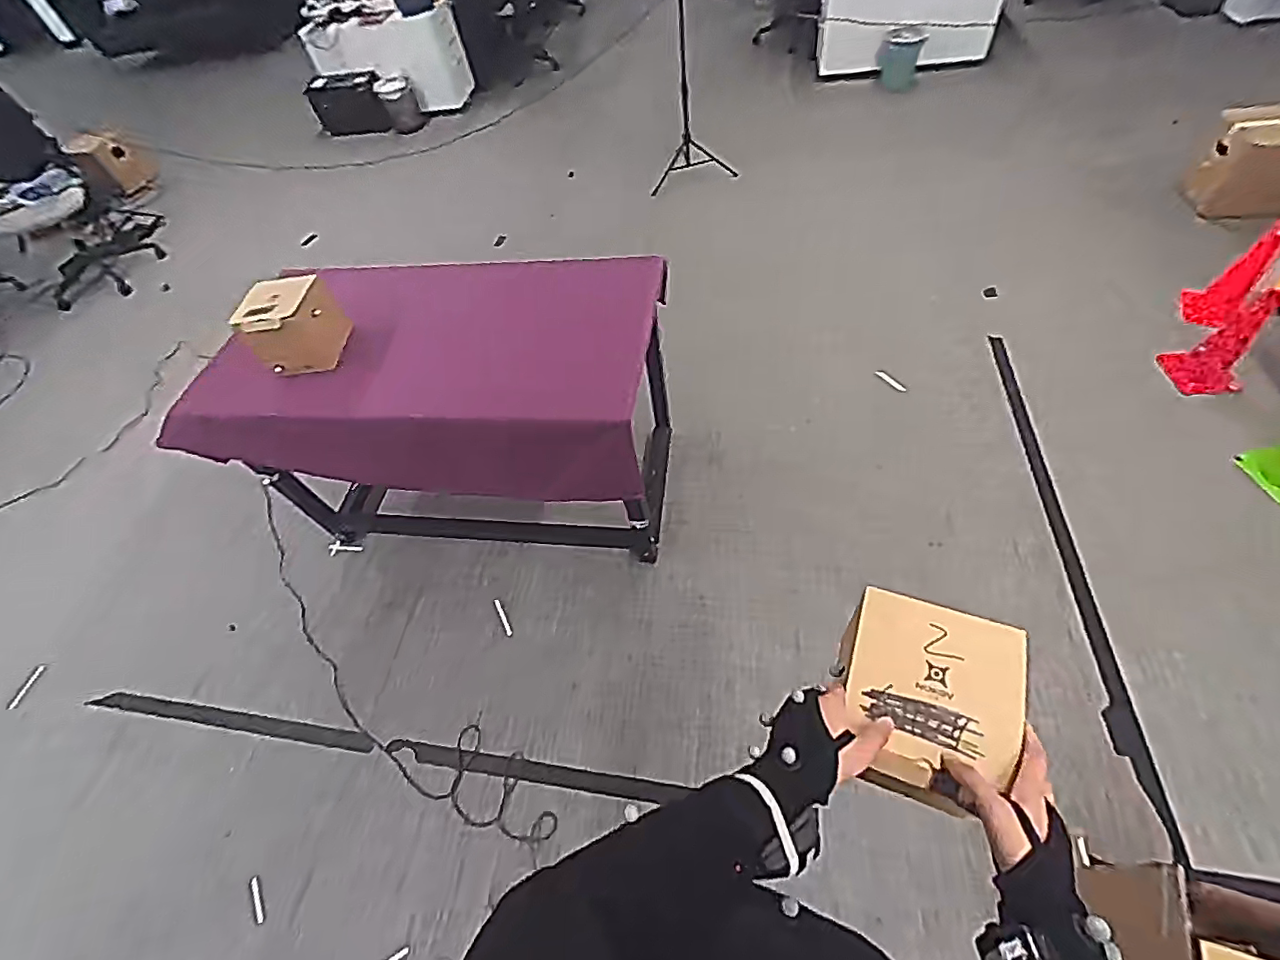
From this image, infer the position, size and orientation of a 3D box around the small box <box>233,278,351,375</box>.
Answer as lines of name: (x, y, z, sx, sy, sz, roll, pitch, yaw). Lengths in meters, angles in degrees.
small box: (-0.878, -0.386, 1.386, 0.168, 0.176, 0.179, -5, 54, 5)
